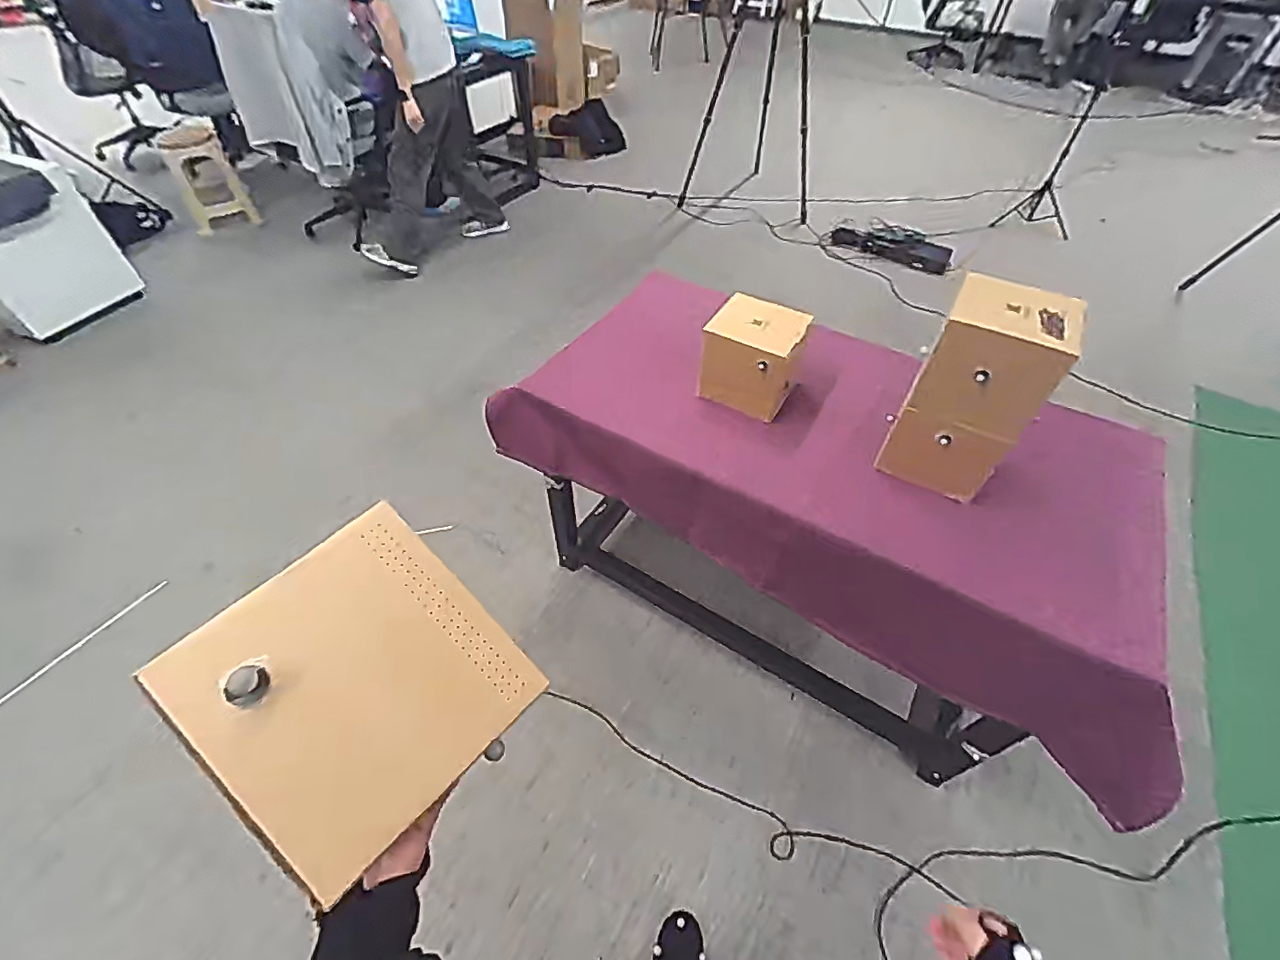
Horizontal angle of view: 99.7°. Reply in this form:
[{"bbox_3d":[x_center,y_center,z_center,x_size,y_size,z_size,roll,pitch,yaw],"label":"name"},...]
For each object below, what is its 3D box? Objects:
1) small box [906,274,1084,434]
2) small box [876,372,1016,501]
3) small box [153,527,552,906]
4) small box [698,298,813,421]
[{"bbox_3d":[0.566,-0.199,0.874,0.179,0.176,0.168,25,53,20],"label":"small box"},{"bbox_3d":[0.564,-0.090,0.997,0.179,0.176,0.168,26,54,20],"label":"small box"},{"bbox_3d":[-0.193,0.155,0.413,0.179,0.168,0.176,46,65,6],"label":"small box"},{"bbox_3d":[0.235,-0.251,1.136,0.179,0.176,0.168,25,53,18],"label":"small box"}]
